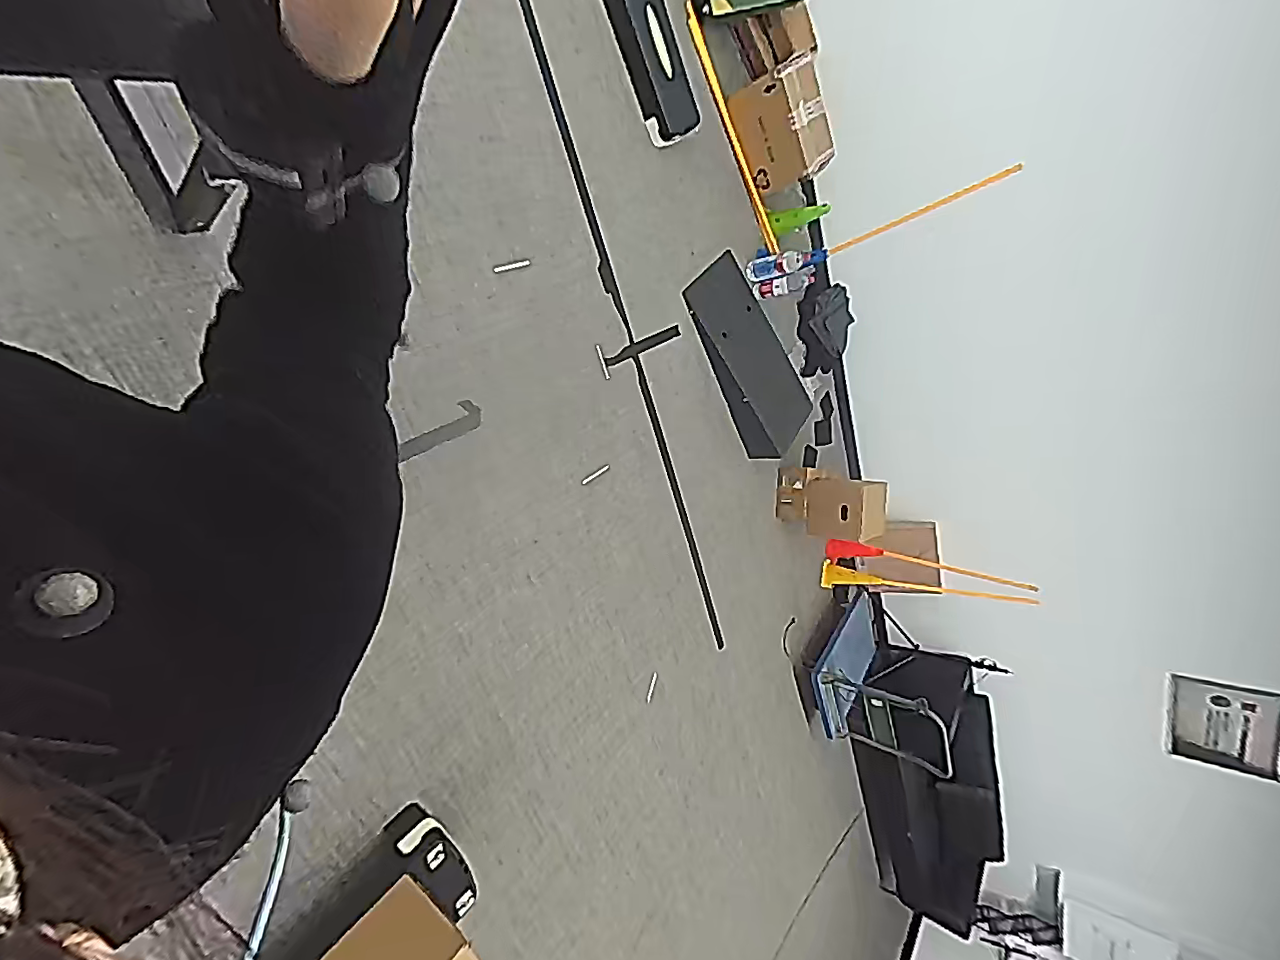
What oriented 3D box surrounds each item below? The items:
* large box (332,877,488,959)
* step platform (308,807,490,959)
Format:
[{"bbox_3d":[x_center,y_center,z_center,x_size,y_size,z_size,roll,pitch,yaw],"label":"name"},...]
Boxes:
[{"bbox_3d":[-0.551,1.236,1.207,0.408,0.320,0.320,-36,117,-42],"label":"large box"},{"bbox_3d":[-0.722,1.210,1.374,0.684,0.204,0.286,-29,112,-44],"label":"step platform"}]
